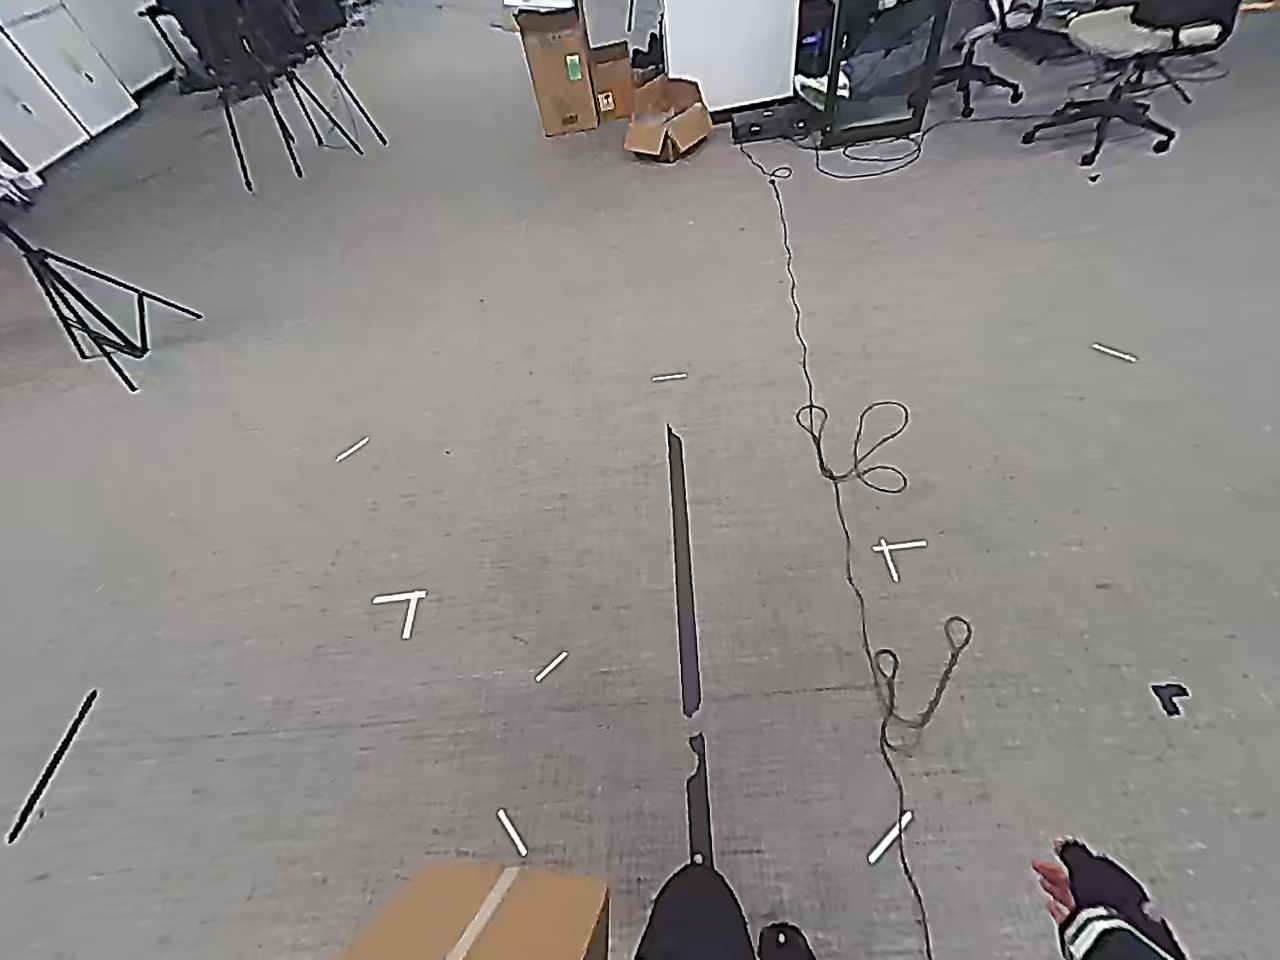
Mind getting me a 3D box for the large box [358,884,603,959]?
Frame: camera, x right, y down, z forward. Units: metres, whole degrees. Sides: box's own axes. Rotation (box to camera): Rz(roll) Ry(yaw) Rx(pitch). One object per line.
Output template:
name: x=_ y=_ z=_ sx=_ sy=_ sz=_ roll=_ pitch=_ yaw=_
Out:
large box: x=-0.233 y=0.785 z=0.658 sx=0.320 sy=0.408 sz=0.320 roll=-2 pitch=81 yaw=8
